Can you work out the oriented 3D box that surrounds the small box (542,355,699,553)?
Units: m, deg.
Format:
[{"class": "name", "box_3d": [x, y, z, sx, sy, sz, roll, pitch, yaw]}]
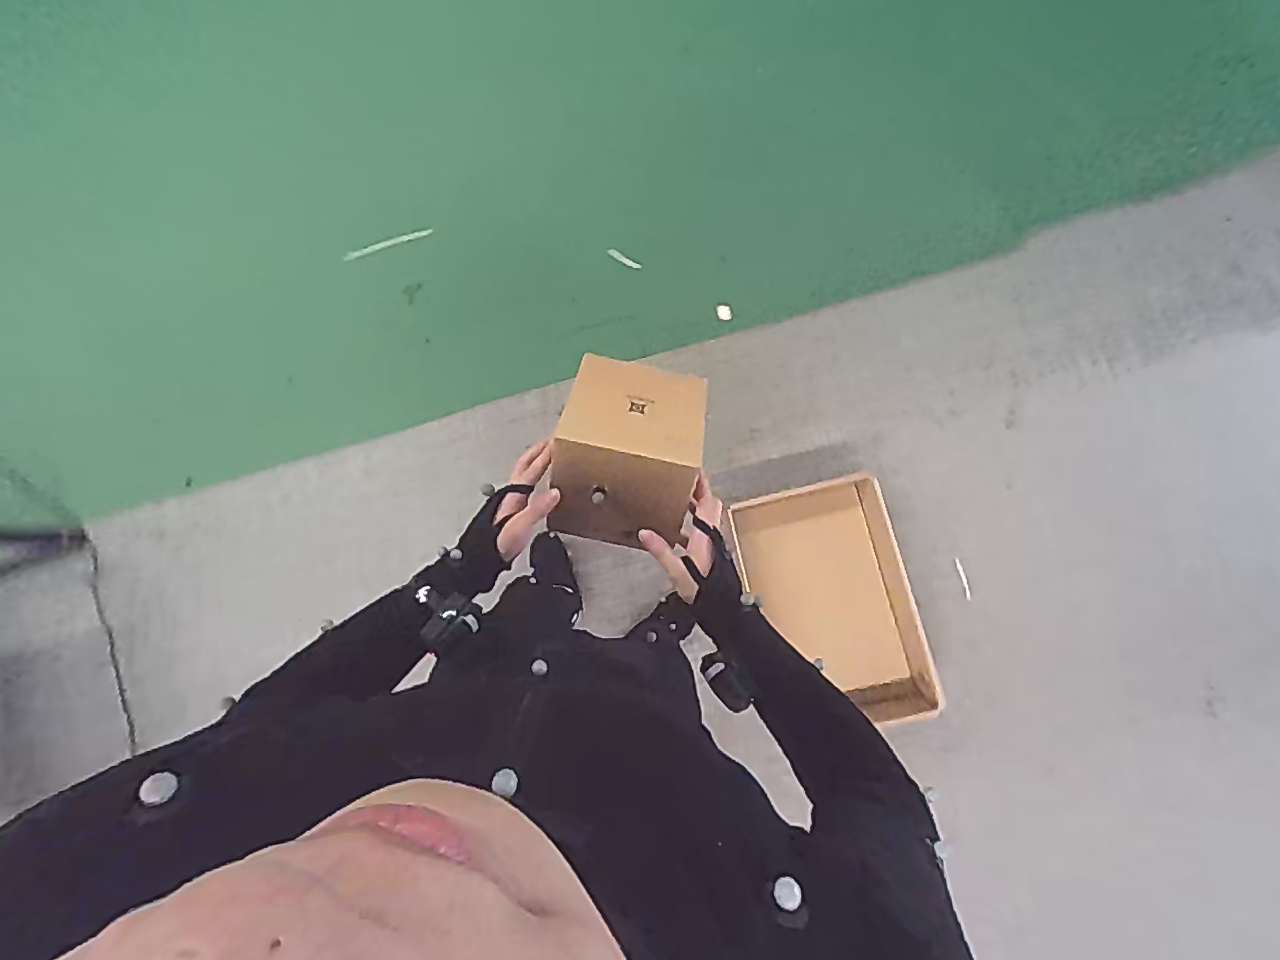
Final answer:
[{"class": "small box", "box_3d": [-0.024, -0.031, 0.689, 0.168, 0.176, 0.179, 10, 44, -1]}]
